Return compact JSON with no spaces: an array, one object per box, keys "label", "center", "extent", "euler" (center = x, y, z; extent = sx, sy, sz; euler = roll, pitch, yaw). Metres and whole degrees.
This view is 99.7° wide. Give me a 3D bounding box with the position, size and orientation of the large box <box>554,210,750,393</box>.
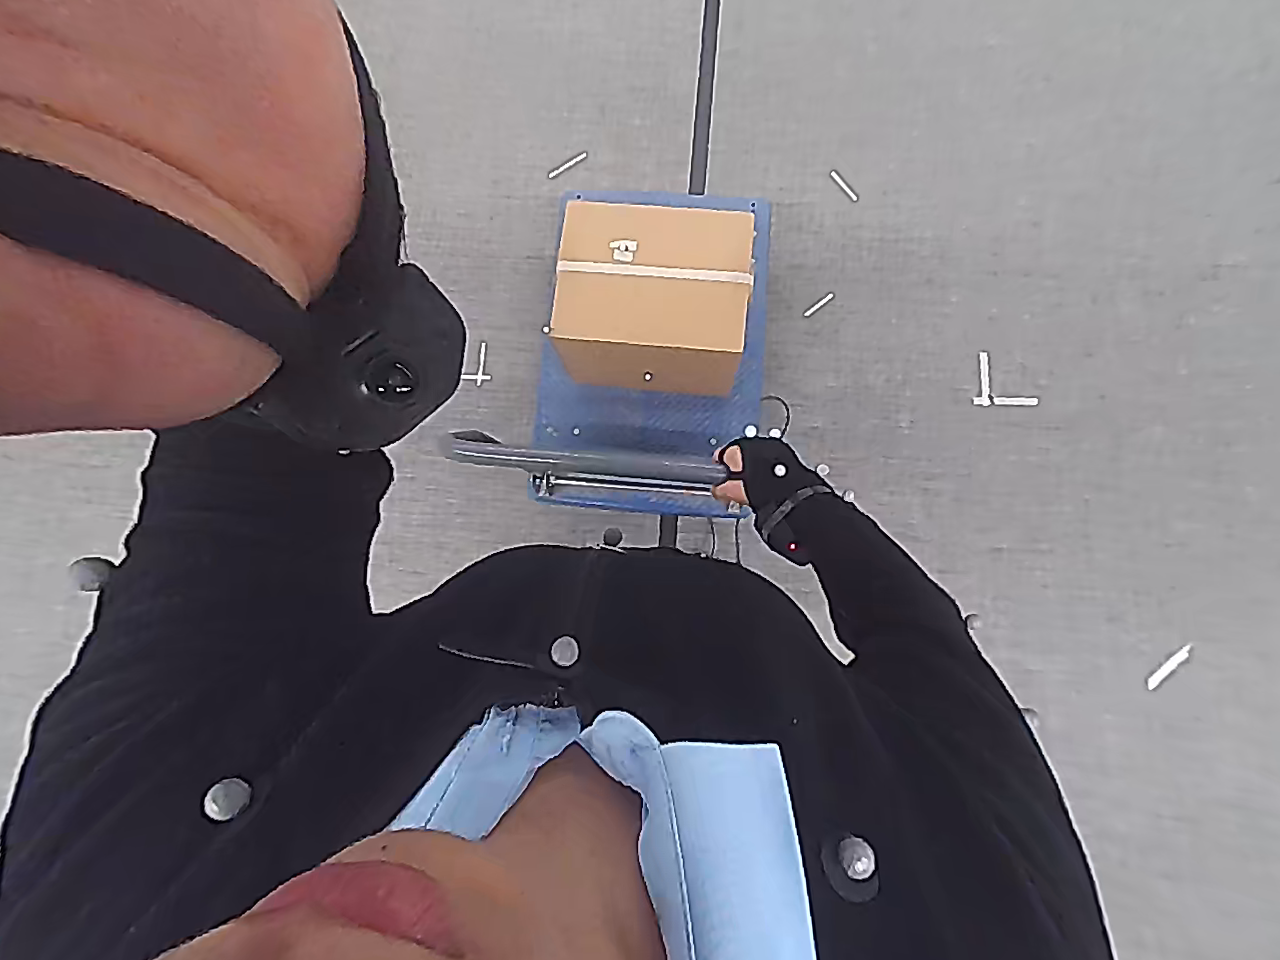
[{"label":"large box","center":[0.039,-0.408,1.292],"extent":[0.408,0.320,0.320],"euler":[5,81,5]}]
